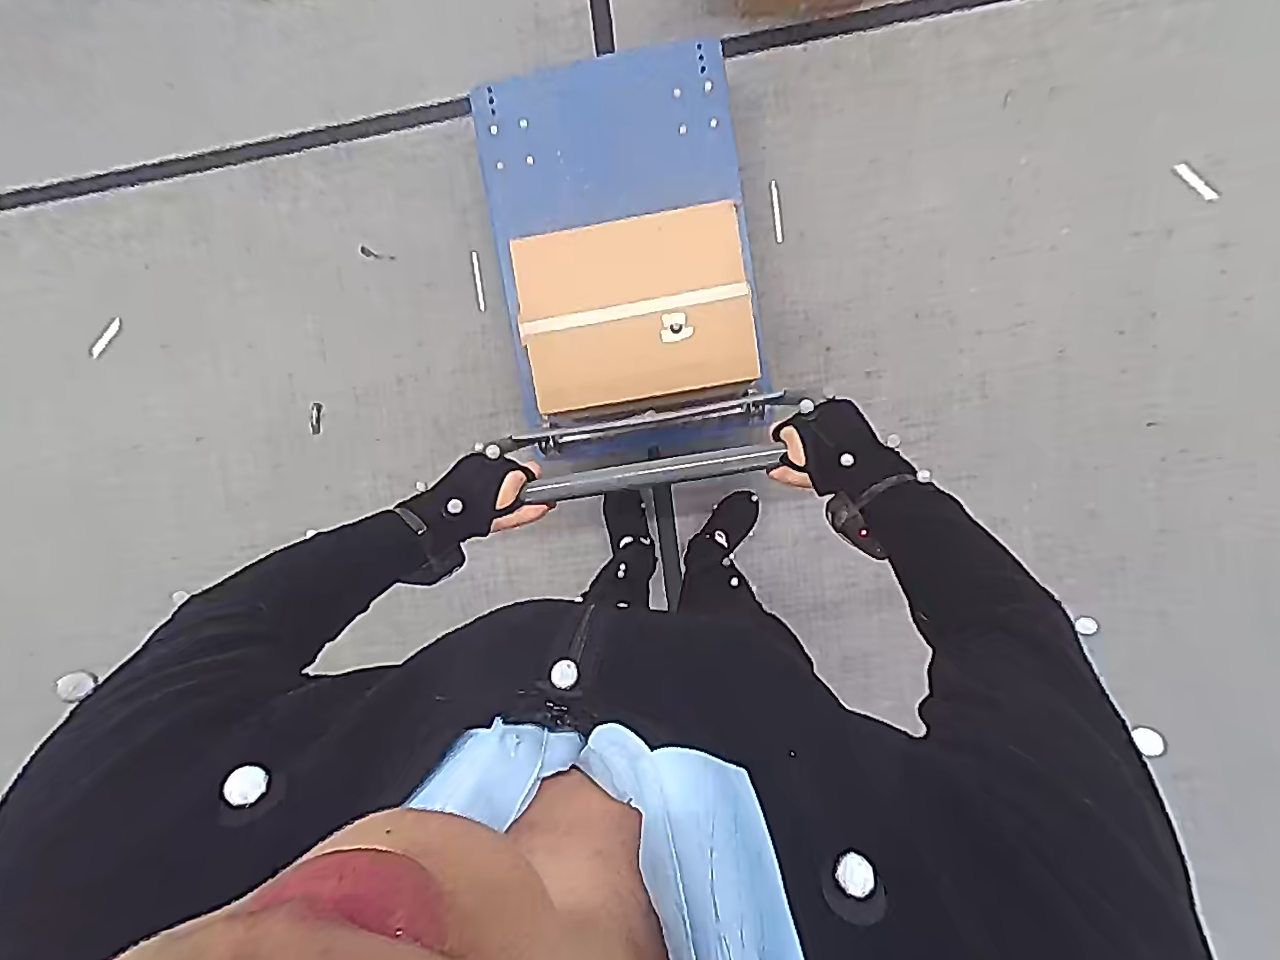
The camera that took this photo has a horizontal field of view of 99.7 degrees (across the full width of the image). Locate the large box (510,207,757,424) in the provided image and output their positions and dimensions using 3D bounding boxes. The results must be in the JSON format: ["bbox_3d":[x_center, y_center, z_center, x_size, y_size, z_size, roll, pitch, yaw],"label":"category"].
[{"bbox_3d":[-0.008,-0.302,1.104,0.408,0.320,0.320,-9,95,2],"label":"large box"}]
